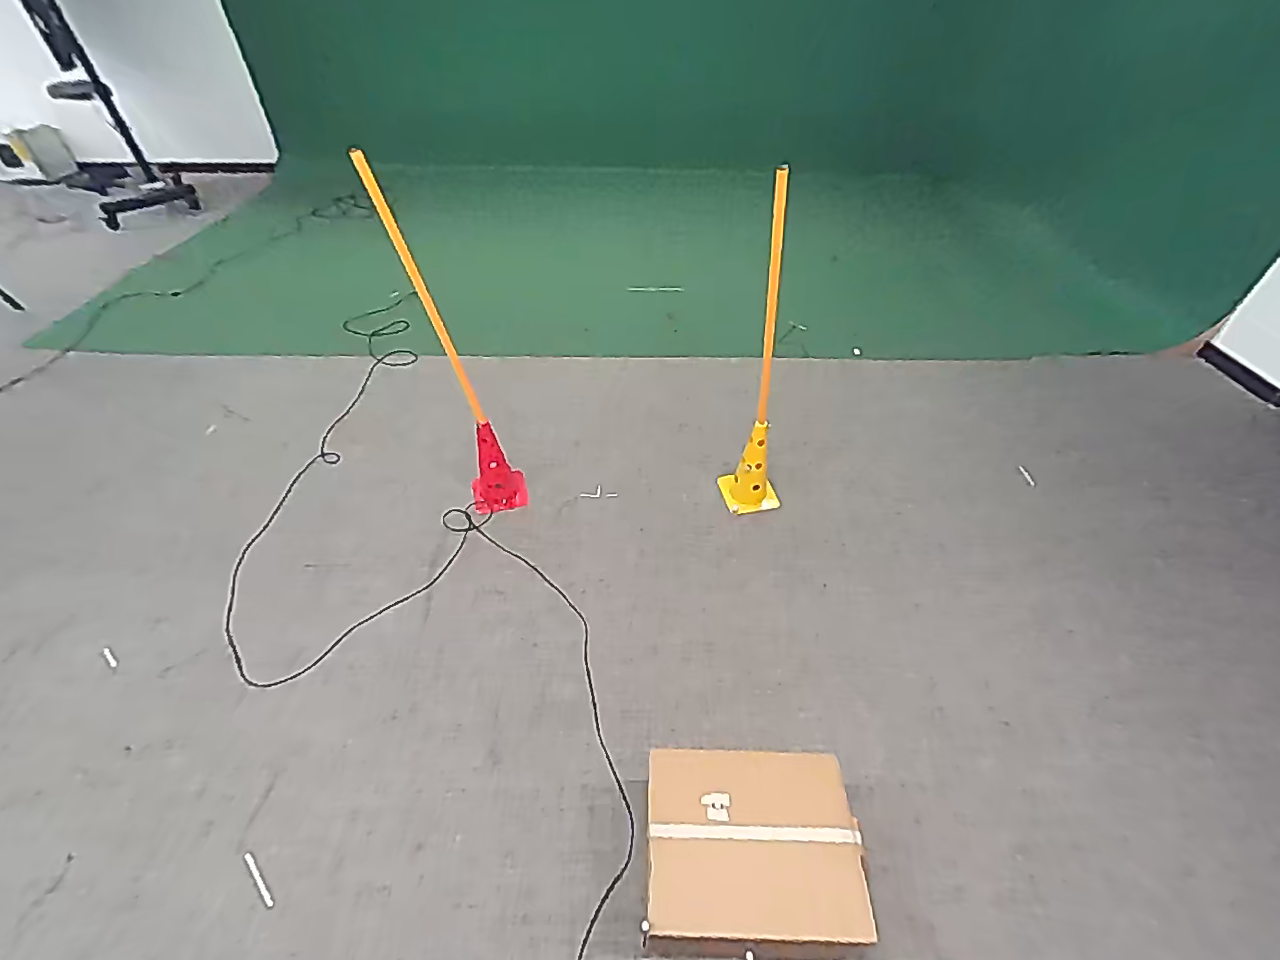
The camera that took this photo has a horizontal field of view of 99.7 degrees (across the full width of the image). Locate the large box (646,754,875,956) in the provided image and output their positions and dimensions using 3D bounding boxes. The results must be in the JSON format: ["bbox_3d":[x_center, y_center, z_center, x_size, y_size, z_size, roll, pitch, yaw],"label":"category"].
[{"bbox_3d":[0.219,0.802,1.154,0.408,0.320,0.320,1,44,1],"label":"large box"}]
